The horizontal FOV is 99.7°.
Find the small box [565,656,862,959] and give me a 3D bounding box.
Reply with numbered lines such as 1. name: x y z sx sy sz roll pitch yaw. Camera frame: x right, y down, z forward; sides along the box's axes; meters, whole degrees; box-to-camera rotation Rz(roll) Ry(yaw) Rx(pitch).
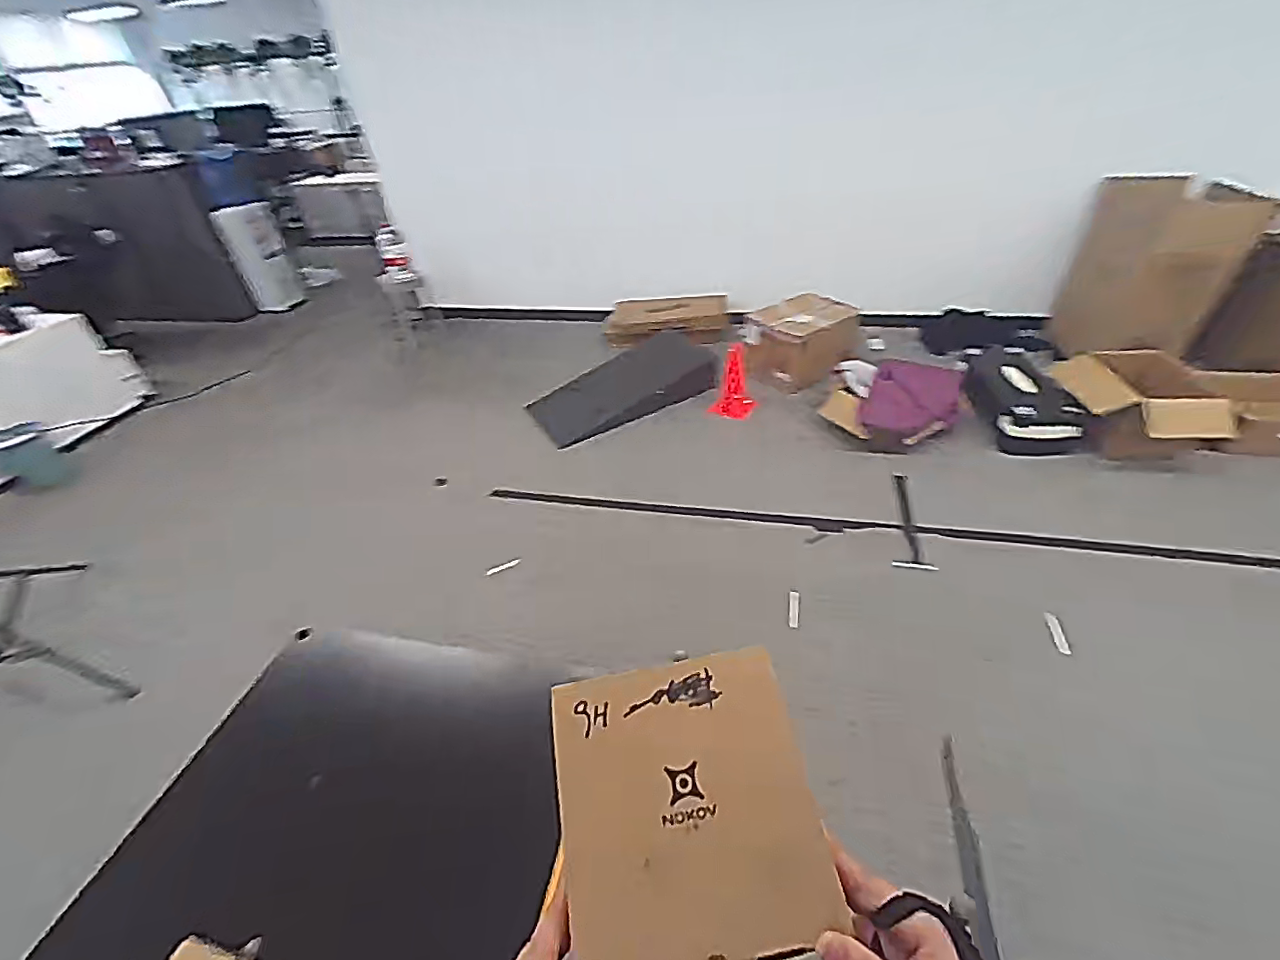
1. small box: 0.044 0.256 0.420 0.168 0.176 0.179 -10 58 -2
